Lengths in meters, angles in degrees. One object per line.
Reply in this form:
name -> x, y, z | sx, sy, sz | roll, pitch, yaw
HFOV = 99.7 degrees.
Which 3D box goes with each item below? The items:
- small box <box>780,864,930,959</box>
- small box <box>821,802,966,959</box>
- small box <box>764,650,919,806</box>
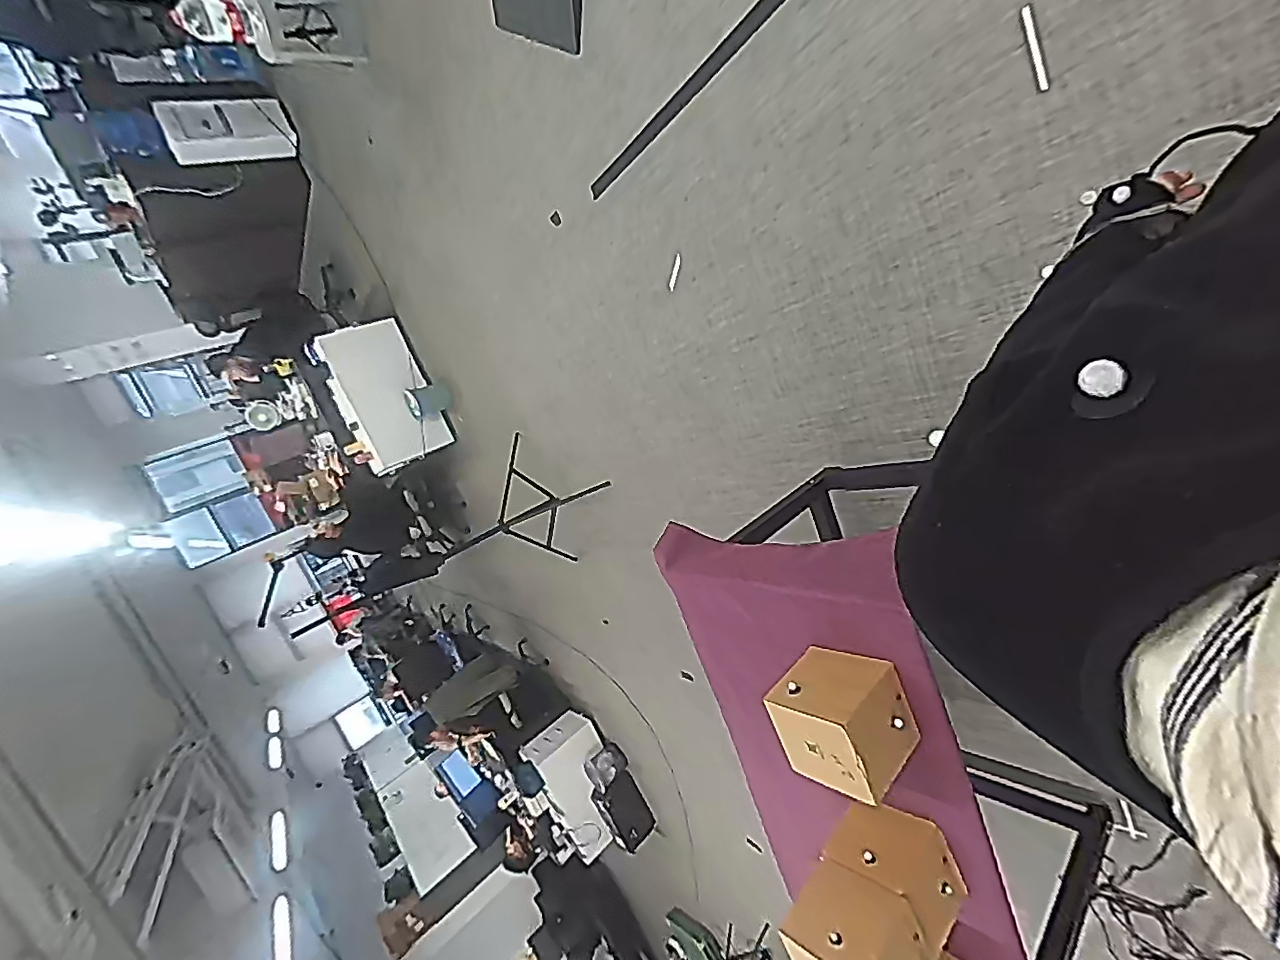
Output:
small box -> 0.391, 0.840, 0.962 | 0.179, 0.176, 0.168 | -13, 104, 55
small box -> 0.501, 0.777, 1.068 | 0.179, 0.176, 0.168 | -16, 102, 55
small box -> 0.364, 0.431, 0.978 | 0.179, 0.176, 0.168 | -9, 109, 55
